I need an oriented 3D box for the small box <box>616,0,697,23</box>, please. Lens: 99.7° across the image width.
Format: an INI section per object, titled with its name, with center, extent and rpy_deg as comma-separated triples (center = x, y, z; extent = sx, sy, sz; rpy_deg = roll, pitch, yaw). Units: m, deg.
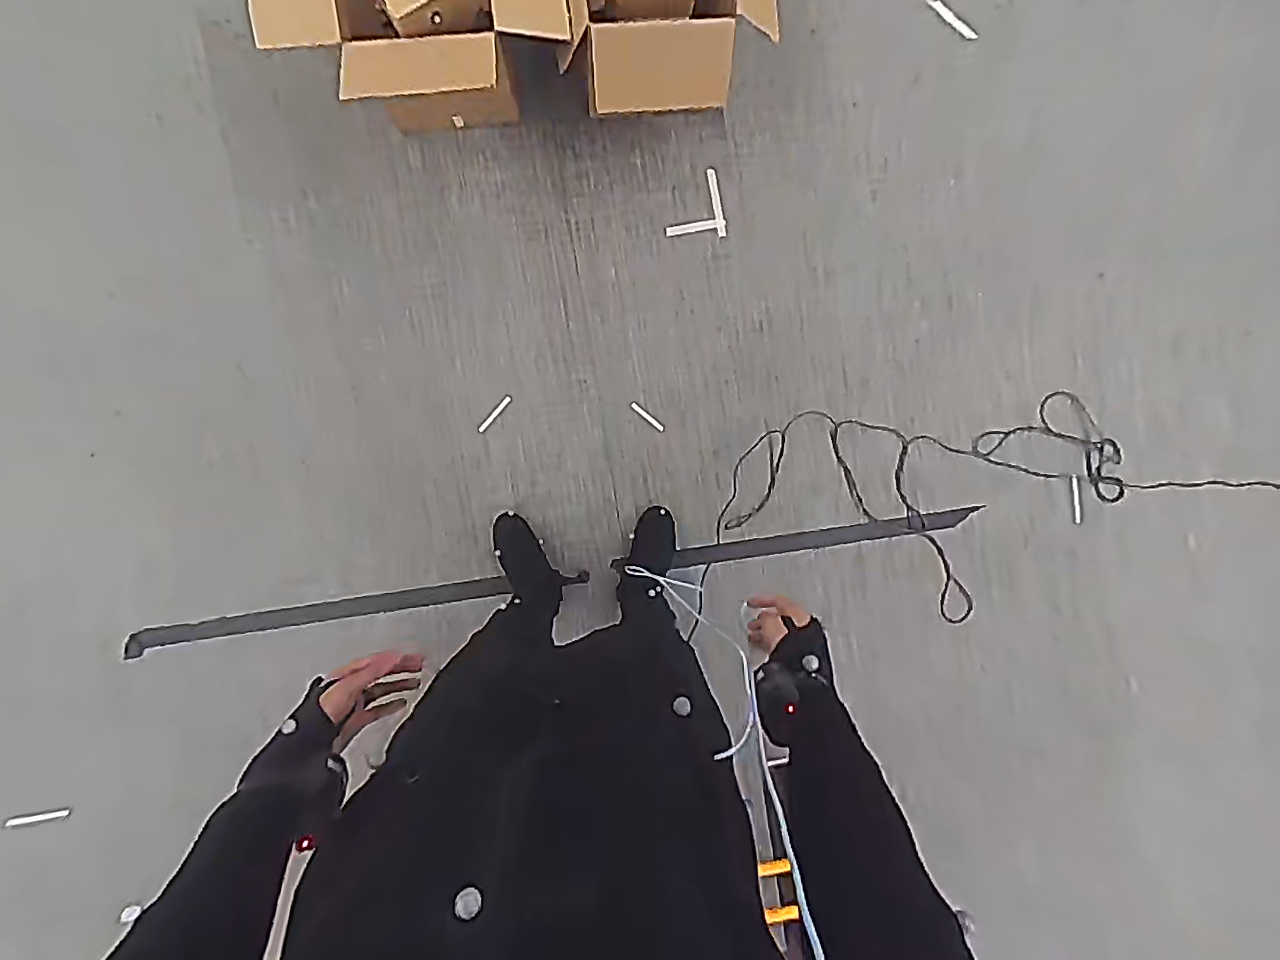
[small box]
center = 0.037, -1.092, 1.115
extent = 0.179, 0.176, 0.168
rpy_deg = -6, 95, -3
